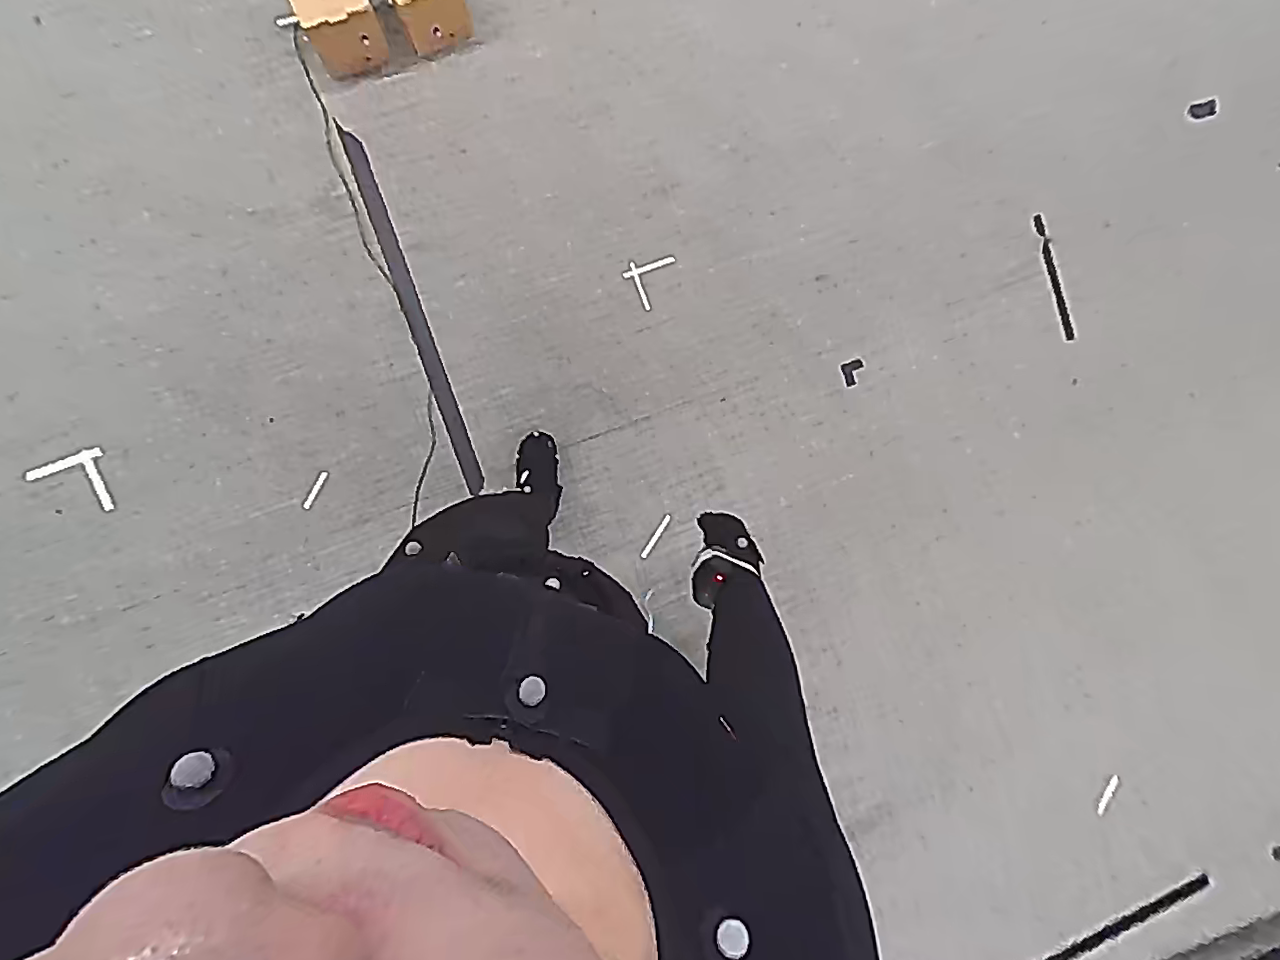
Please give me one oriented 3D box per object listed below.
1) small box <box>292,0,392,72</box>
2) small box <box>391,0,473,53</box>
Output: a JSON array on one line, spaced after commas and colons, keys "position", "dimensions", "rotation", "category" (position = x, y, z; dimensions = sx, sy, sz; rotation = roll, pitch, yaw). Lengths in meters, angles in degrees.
[{"position": [-0.738, -1.147, 1.320], "dimensions": [0.168, 0.176, 0.179], "rotation": [-25, 93, -7], "category": "small box"}, {"position": [-0.538, -1.228, 1.345], "dimensions": [0.168, 0.176, 0.179], "rotation": [-29, 95, -6], "category": "small box"}]
